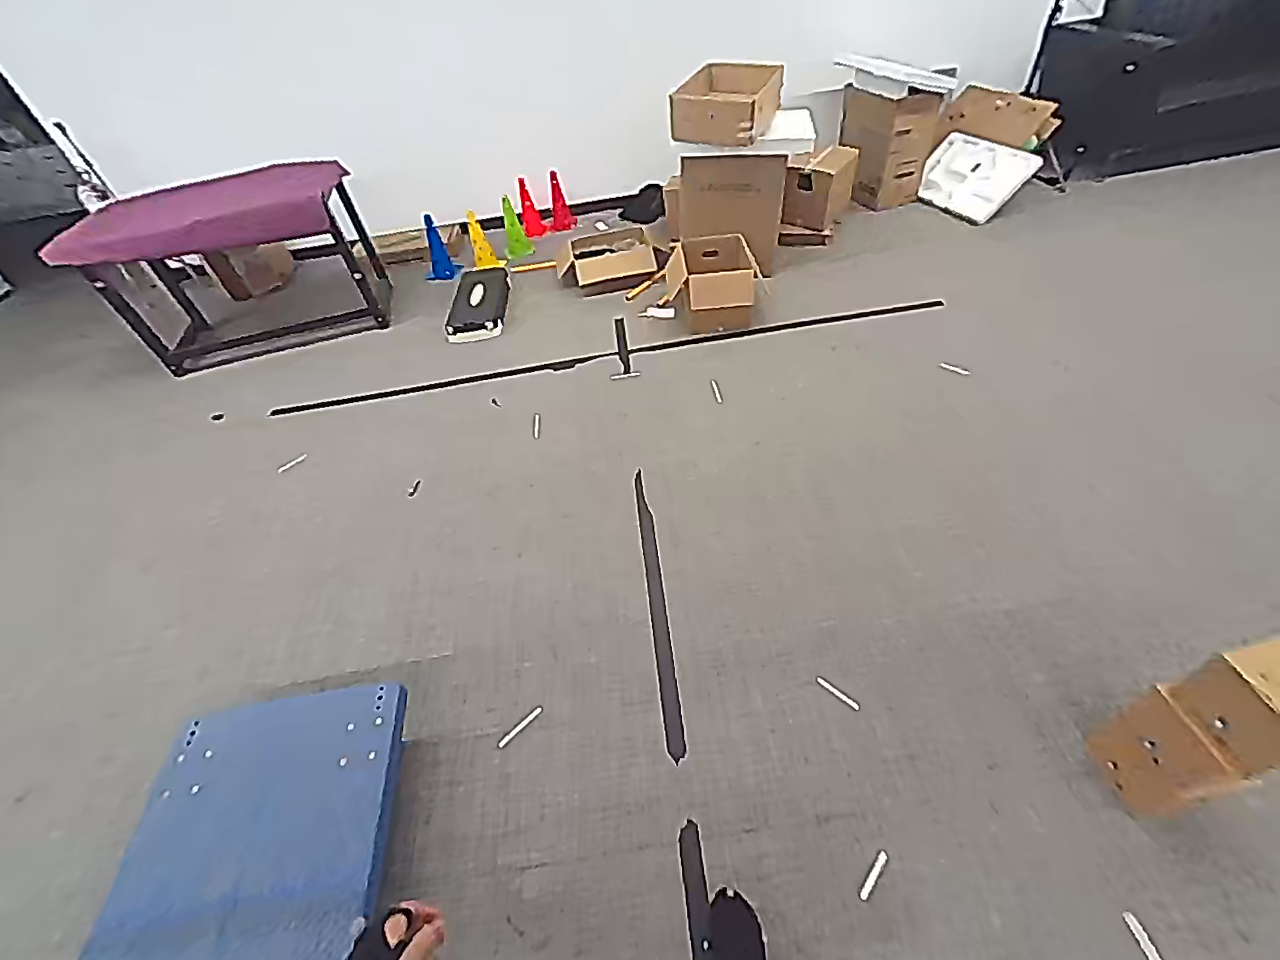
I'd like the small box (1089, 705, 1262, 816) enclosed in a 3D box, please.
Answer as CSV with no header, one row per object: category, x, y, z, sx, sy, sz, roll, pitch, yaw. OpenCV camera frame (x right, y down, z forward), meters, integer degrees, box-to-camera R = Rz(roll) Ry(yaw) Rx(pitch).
small box,1.160,0.617,1.191,0.179,0.176,0.168,-11,46,-1

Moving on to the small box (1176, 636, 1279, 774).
small box,1.129,0.391,0.952,0.179,0.176,0.168,-14,45,-3
